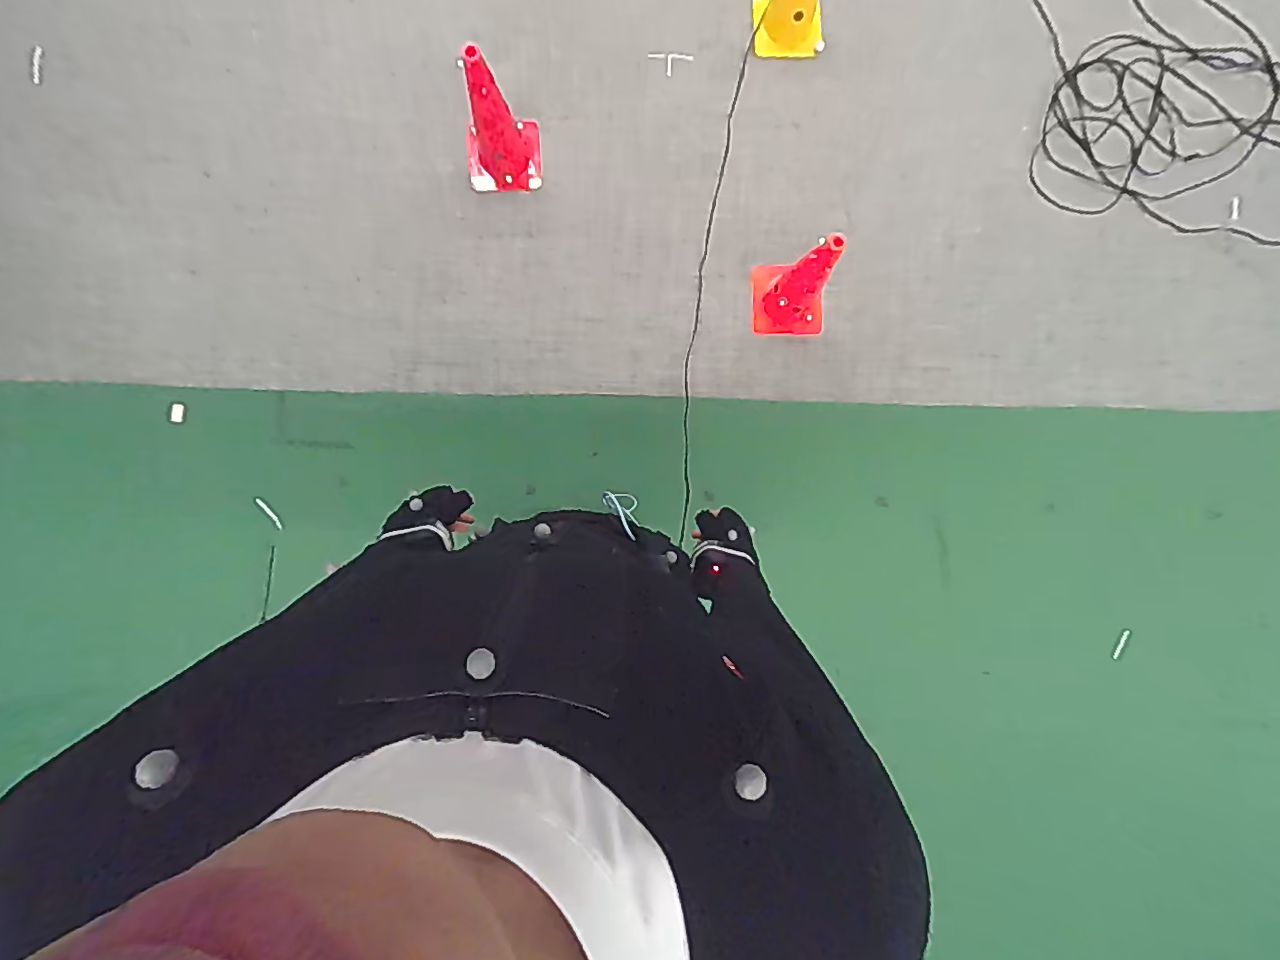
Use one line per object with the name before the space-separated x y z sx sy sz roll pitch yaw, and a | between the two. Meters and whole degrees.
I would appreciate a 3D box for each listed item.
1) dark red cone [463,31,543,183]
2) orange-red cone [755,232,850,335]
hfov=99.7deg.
dark red cone | -0.364 -0.922 1.326 0.202 0.394 0.201 -4 89 -2
orange-red cone | 0.434 -0.523 1.365 0.198 0.360 0.199 1 87 -3
